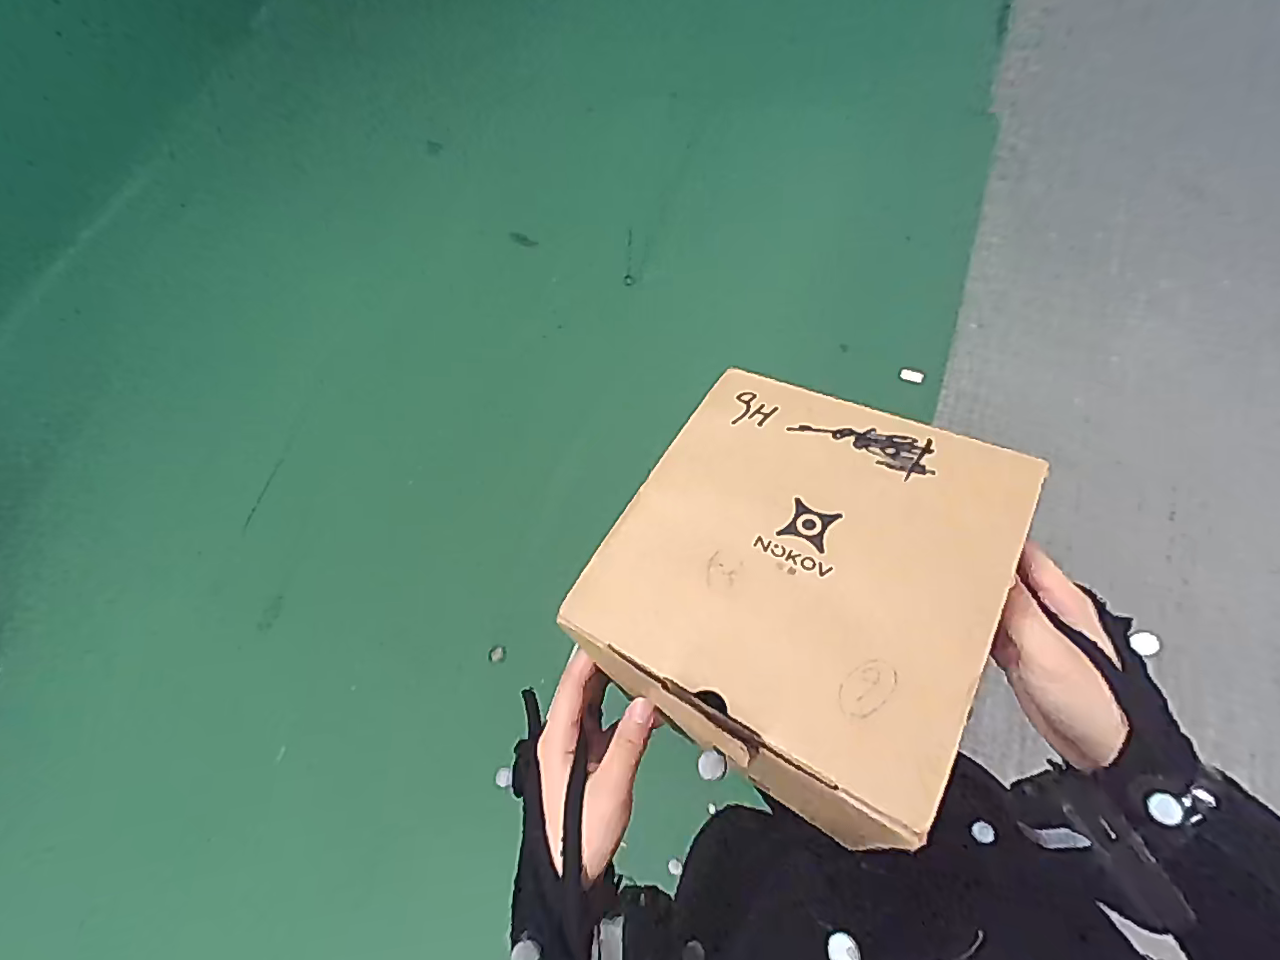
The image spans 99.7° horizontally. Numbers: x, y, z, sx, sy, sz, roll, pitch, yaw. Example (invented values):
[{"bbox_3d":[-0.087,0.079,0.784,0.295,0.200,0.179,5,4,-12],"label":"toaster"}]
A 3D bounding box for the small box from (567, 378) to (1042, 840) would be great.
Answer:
[{"bbox_3d":[0.091,0.076,0.320,0.168,0.176,0.179,24,65,26],"label":"small box"}]
